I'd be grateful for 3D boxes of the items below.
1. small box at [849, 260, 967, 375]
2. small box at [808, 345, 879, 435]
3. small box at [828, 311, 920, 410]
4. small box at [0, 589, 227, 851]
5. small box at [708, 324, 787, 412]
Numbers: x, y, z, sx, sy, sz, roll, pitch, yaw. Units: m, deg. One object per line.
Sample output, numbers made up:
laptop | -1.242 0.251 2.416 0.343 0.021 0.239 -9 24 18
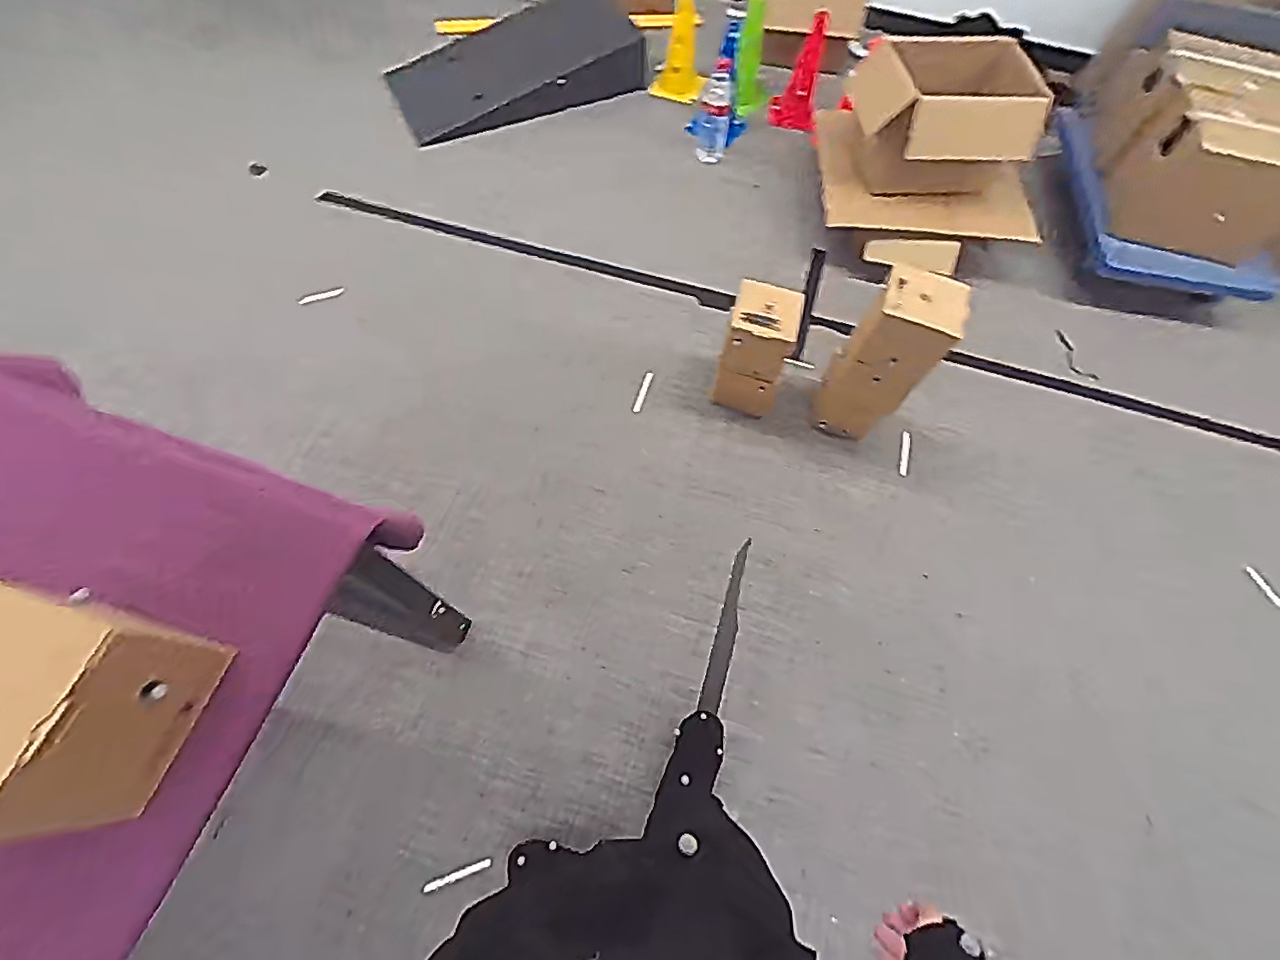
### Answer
small box | 0.626 -0.373 1.274 0.179 0.176 0.168 22 66 5
small box | 0.607 -0.257 1.582 0.168 0.176 0.179 16 65 3
small box | 0.617 -0.309 1.425 0.179 0.176 0.168 19 66 4
small box | -0.540 0.205 0.490 0.179 0.176 0.168 16 64 4
small box | 0.310 -0.324 1.594 0.179 0.176 0.168 17 65 4
